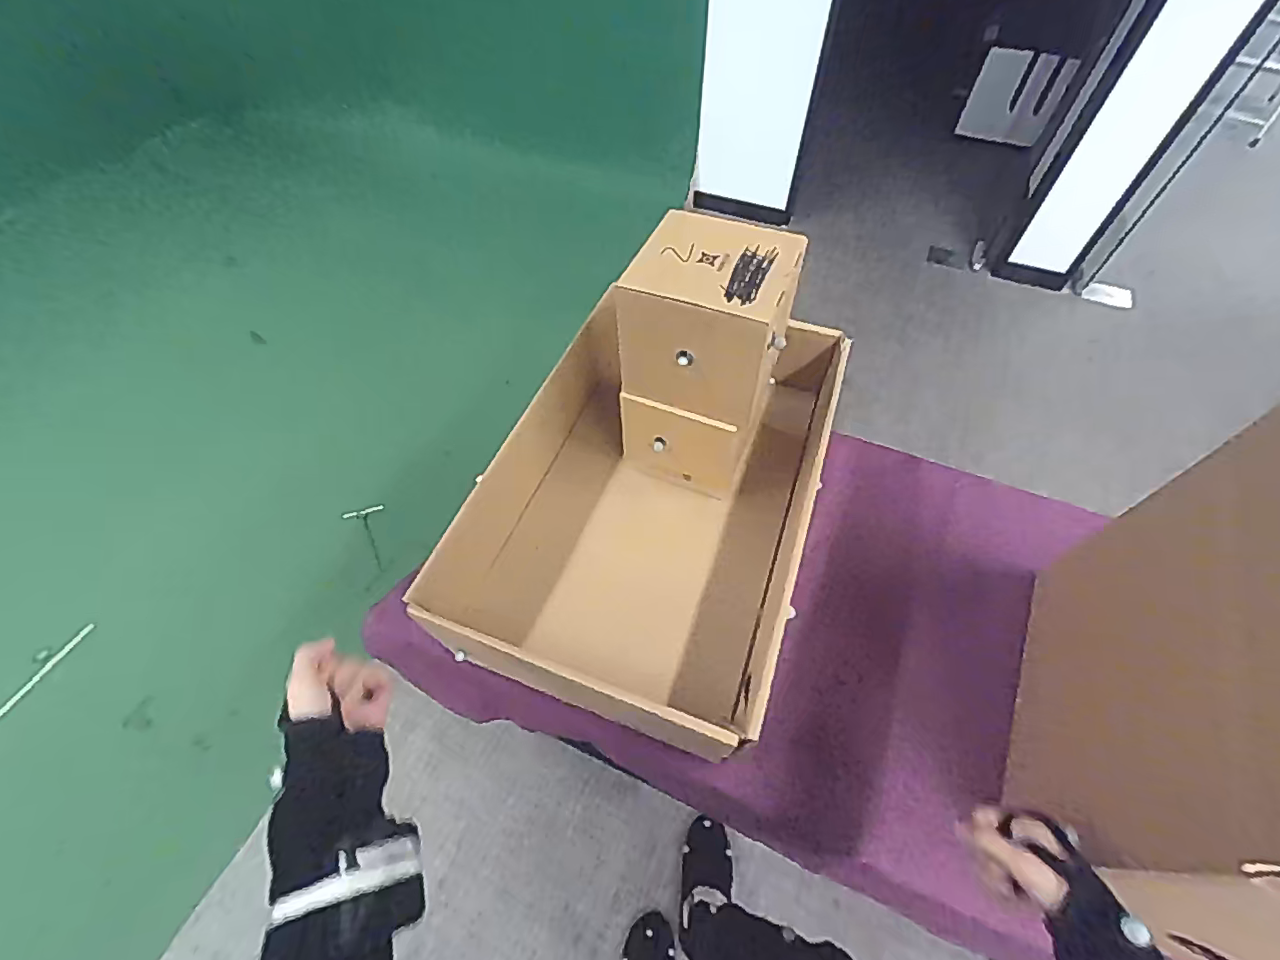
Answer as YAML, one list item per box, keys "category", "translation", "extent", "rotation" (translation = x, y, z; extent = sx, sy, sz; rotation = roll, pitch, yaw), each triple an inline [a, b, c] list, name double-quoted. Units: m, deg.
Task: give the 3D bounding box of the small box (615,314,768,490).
- category: "small box"
  translation: [0.078, -0.111, 0.809]
  extent: [0.168, 0.176, 0.179]
  rotation: [20, 59, 14]
